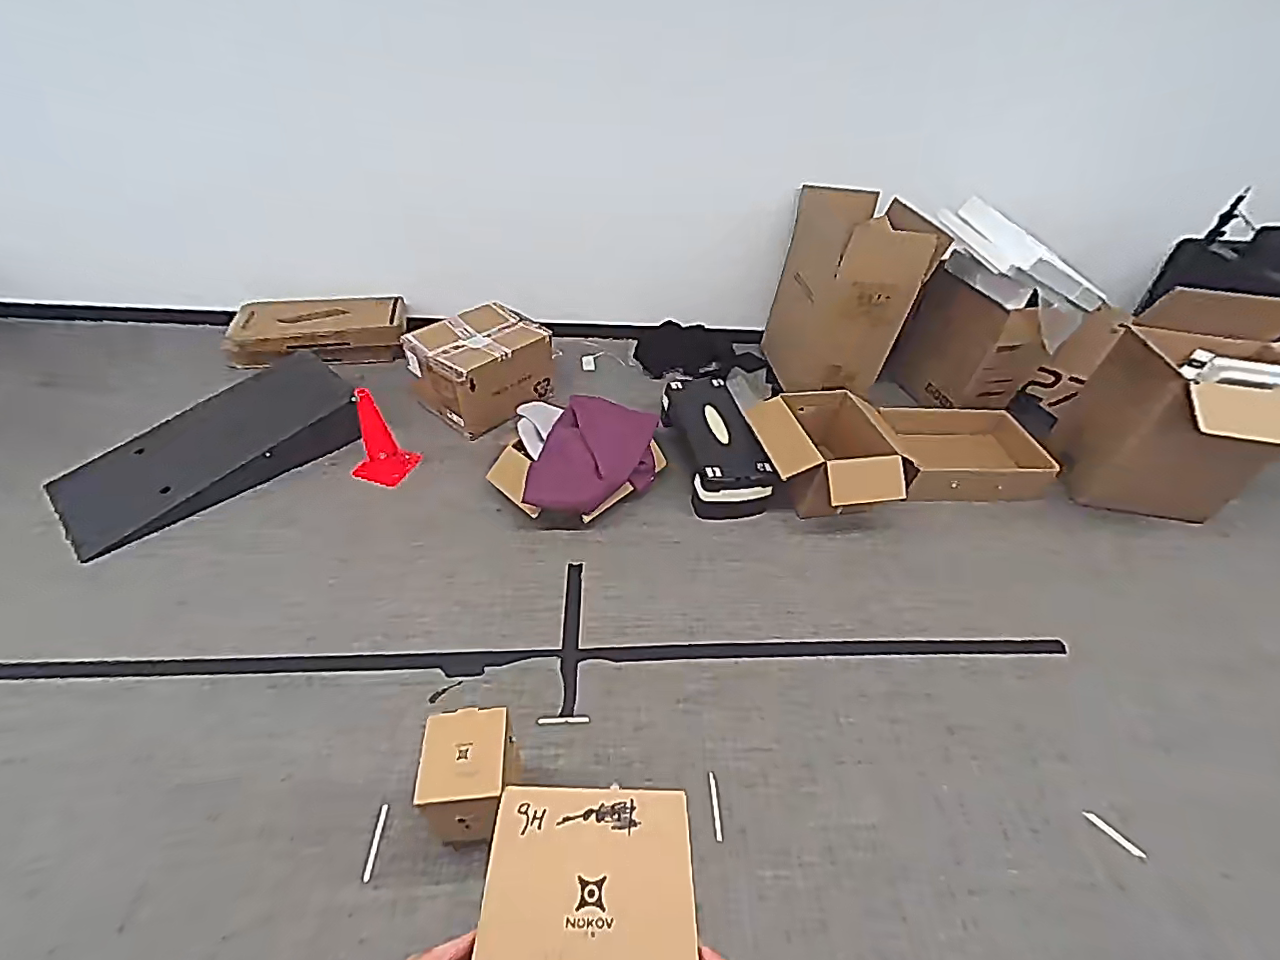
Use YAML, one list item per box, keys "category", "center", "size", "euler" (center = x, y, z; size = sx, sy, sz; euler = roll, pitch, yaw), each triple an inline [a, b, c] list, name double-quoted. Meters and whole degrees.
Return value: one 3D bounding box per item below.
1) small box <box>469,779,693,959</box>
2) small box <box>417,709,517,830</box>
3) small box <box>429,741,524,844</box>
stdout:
- category: "small box"
  center: [-0.046, 0.389, 0.470]
  size: [0.168, 0.176, 0.179]
  euler: [3, 37, -3]
- category: "small box"
  center: [-0.356, 0.613, 1.146]
  size: [0.168, 0.176, 0.179]
  euler: [-4, 45, -7]
- category: "small box"
  center: [-0.371, 0.729, 1.258]
  size: [0.179, 0.176, 0.168]
  euler: [-1, 44, -7]
